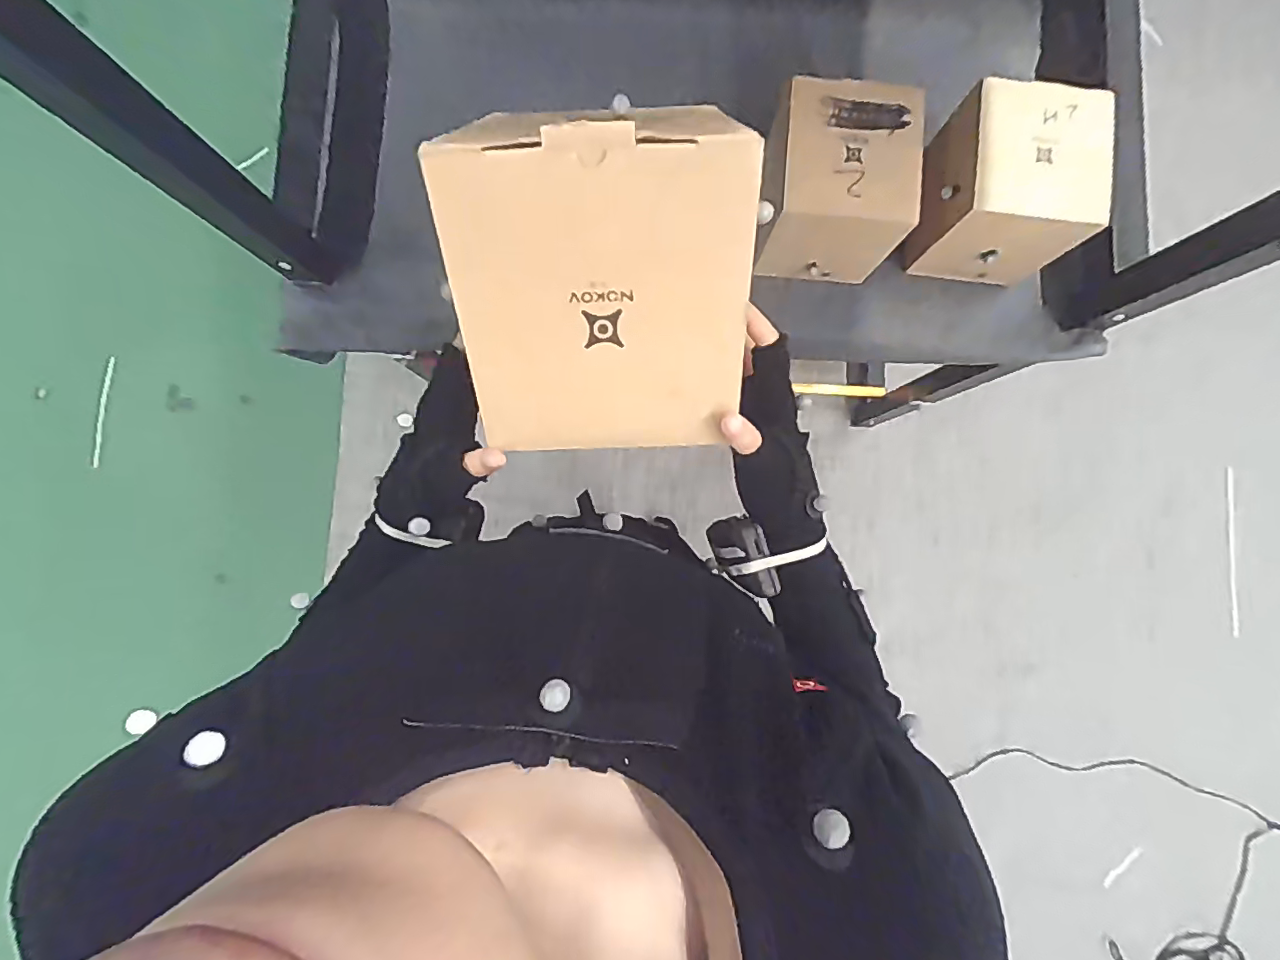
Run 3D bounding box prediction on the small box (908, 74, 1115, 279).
[{"bbox_3d":[0.486,-0.394,0.732,0.168,0.176,0.179,7,85,-1],"label":"small box"}]
